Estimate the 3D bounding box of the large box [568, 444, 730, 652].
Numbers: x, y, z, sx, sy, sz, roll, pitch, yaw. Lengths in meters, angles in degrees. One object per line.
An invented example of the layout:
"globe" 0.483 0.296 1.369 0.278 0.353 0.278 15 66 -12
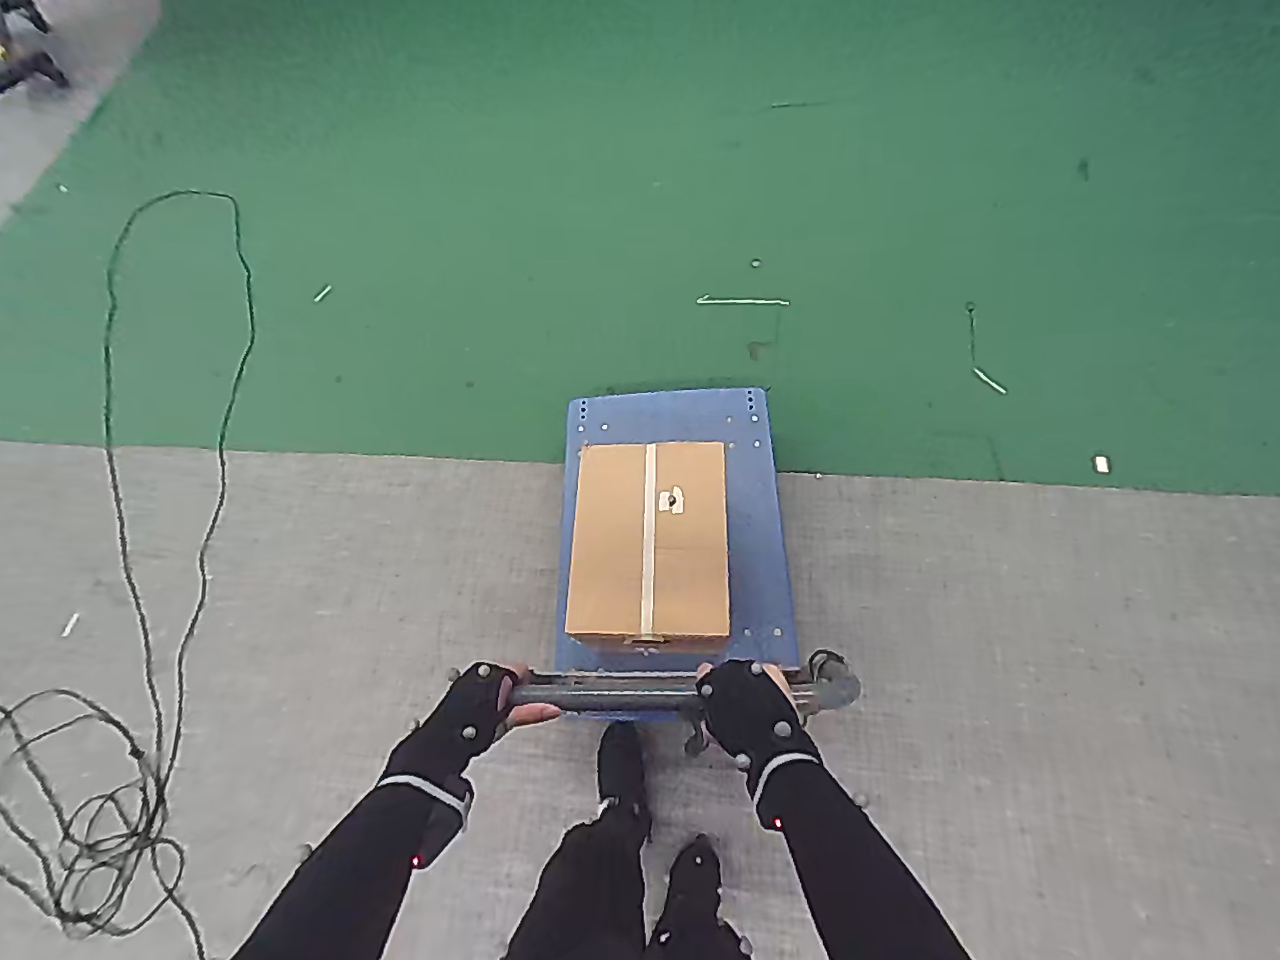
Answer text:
"large box" 0.037 0.168 1.232 0.320 0.320 0.408 -1 66 7
